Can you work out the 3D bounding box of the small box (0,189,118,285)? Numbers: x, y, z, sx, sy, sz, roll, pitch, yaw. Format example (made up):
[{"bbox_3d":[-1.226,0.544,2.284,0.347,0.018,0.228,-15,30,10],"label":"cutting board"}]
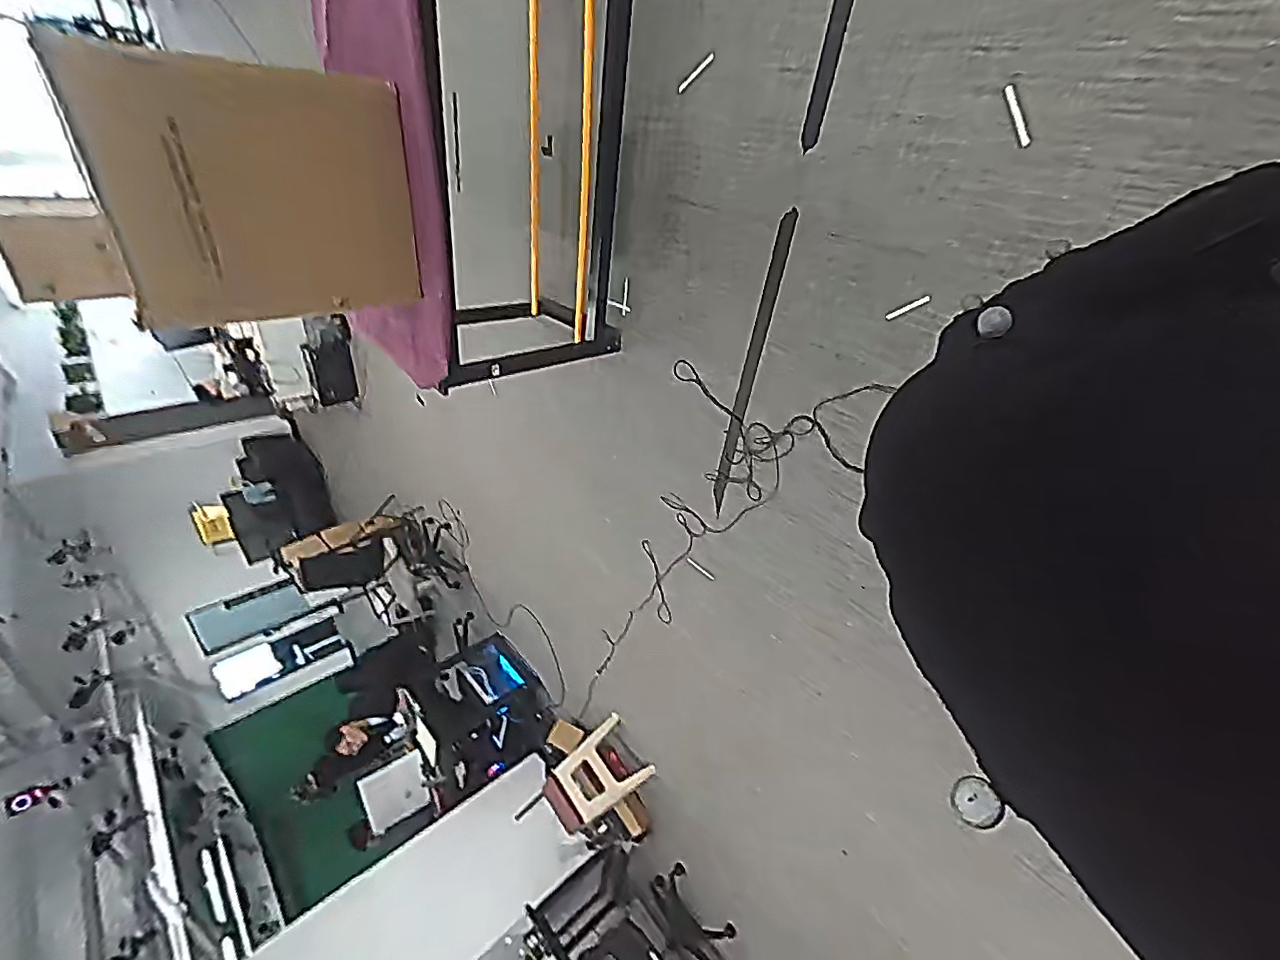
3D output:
[{"bbox_3d":[-1.324,-0.553,1.221,0.168,0.176,0.179,31,128,37],"label":"small box"}]
